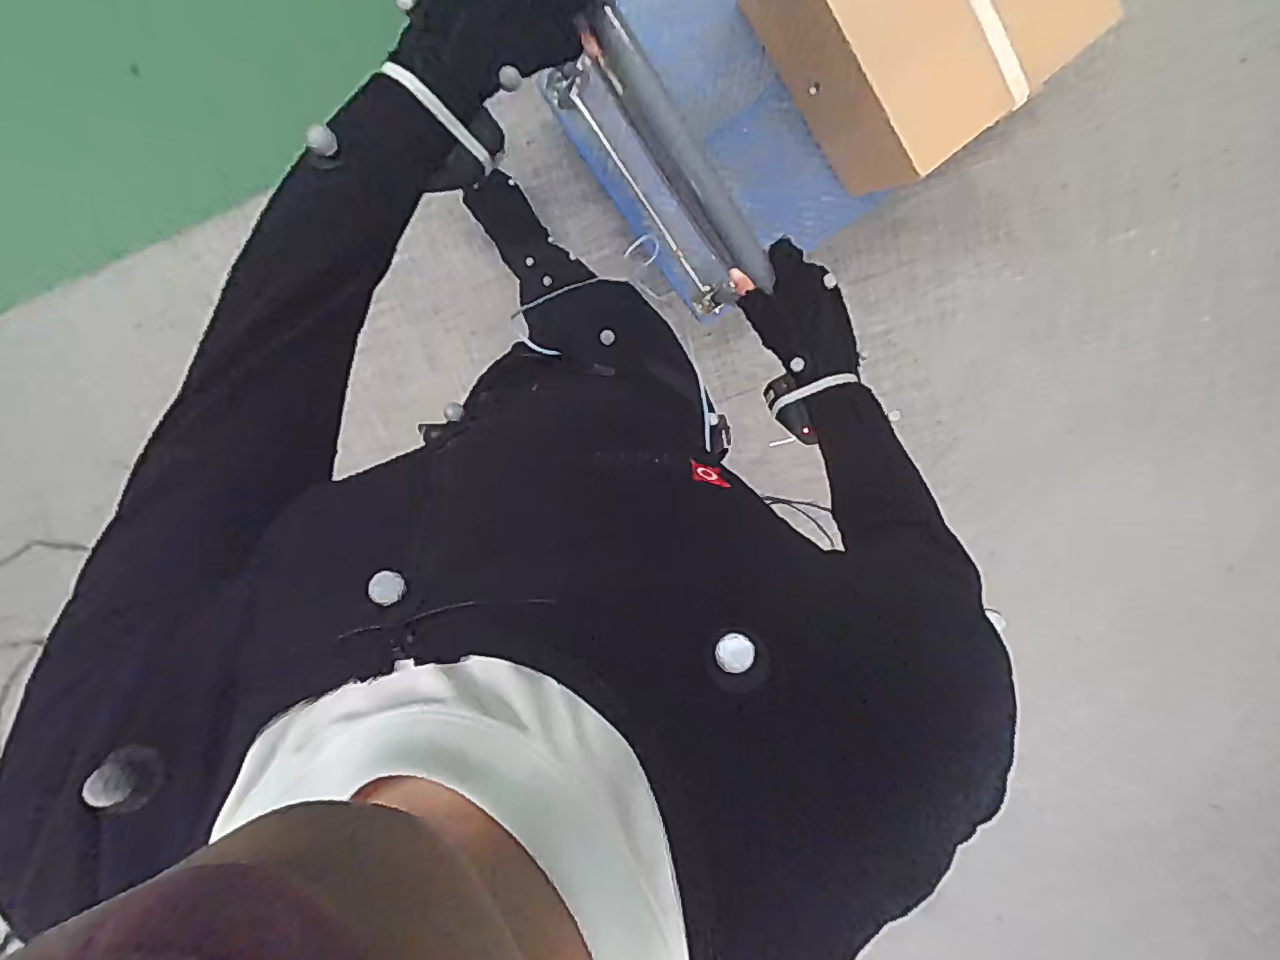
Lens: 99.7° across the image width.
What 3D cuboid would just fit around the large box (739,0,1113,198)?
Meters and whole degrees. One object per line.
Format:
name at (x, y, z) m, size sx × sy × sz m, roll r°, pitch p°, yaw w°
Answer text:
large box at (0.412, -0.735, 0.861) m, size 0.320 × 0.320 × 0.408 m, roll -37°, pitch 107°, yaw 14°
